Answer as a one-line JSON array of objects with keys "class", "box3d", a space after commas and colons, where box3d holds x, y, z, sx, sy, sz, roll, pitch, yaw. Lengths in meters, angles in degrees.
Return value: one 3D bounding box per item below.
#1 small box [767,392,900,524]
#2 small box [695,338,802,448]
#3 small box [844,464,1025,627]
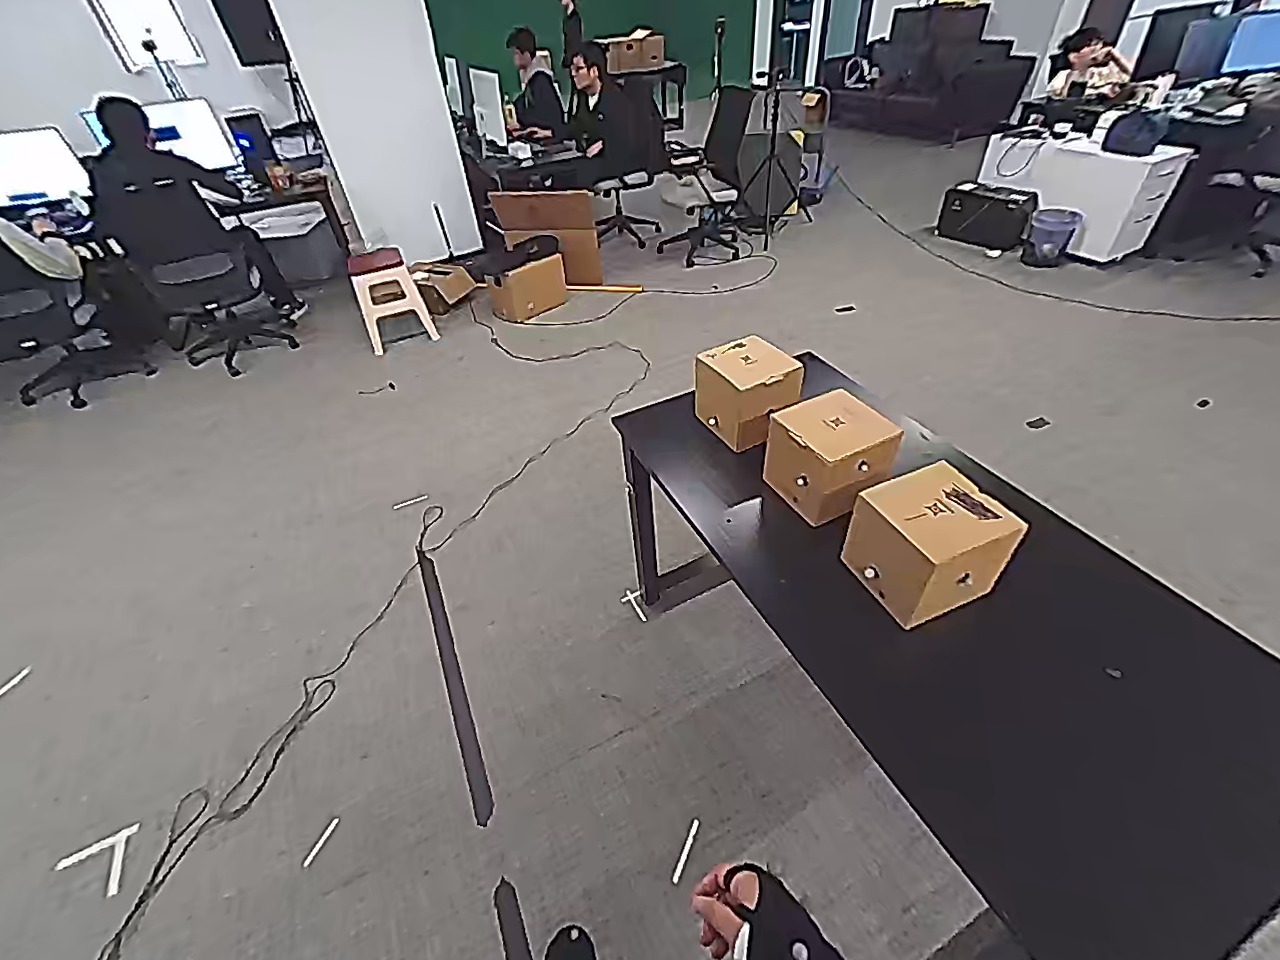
[{"class": "small box", "box3d": [0.365, -0.041, 1.058, 0.179, 0.176, 0.168, -21, 45, -18]}, {"class": "small box", "box3d": [0.240, -0.192, 1.233, 0.168, 0.176, 0.179, -22, 46, -19]}, {"class": "small box", "box3d": [0.463, 0.107, 0.883, 0.179, 0.176, 0.168, -18, 44, -14]}]
